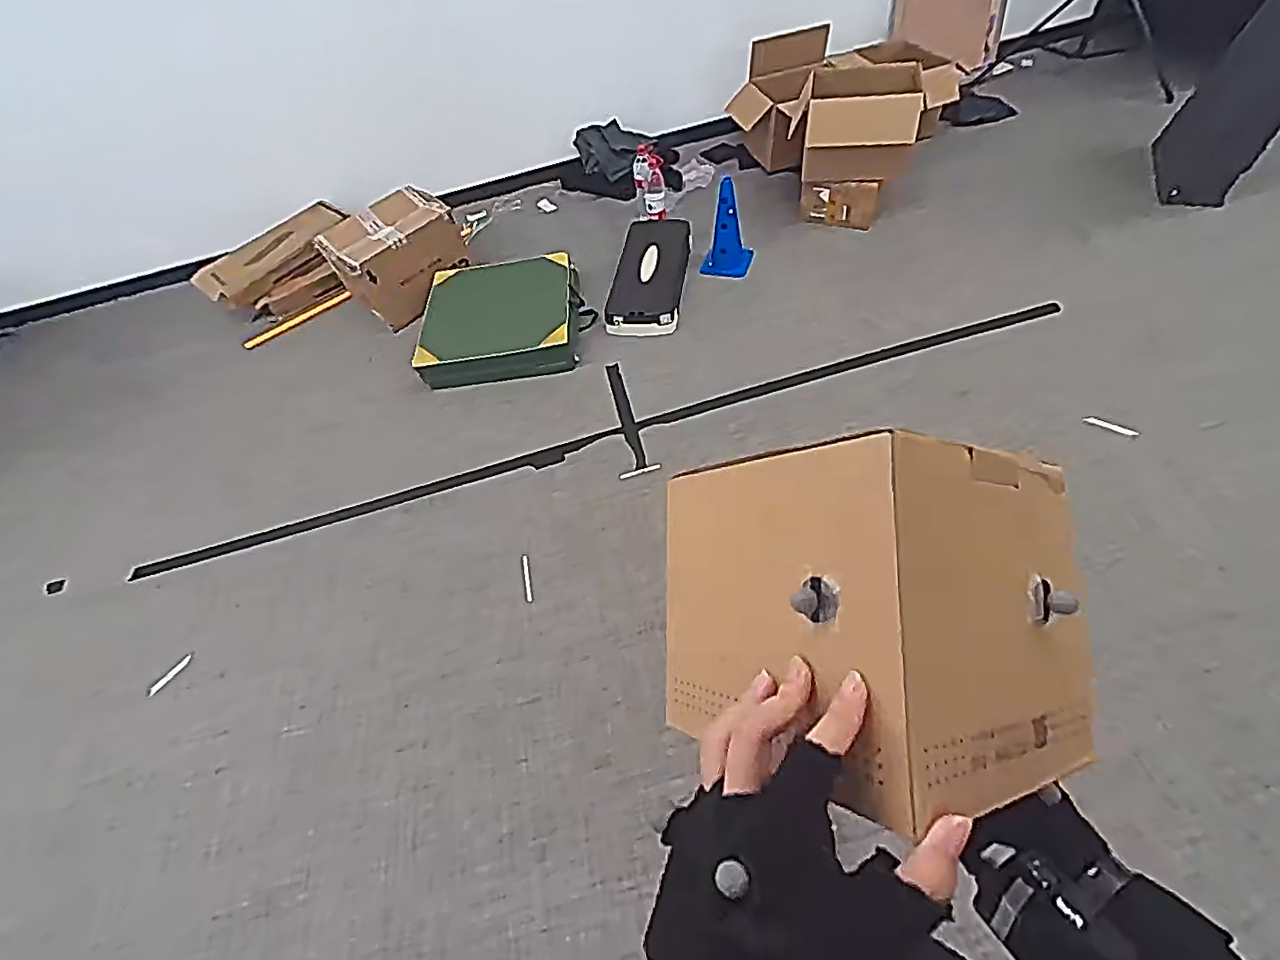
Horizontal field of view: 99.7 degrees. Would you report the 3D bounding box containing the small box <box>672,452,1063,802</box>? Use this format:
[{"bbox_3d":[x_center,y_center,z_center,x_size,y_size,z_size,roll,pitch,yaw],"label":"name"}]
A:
[{"bbox_3d":[0.136,0.084,0.350,0.168,0.179,0.176,6,79,-31],"label":"small box"}]
